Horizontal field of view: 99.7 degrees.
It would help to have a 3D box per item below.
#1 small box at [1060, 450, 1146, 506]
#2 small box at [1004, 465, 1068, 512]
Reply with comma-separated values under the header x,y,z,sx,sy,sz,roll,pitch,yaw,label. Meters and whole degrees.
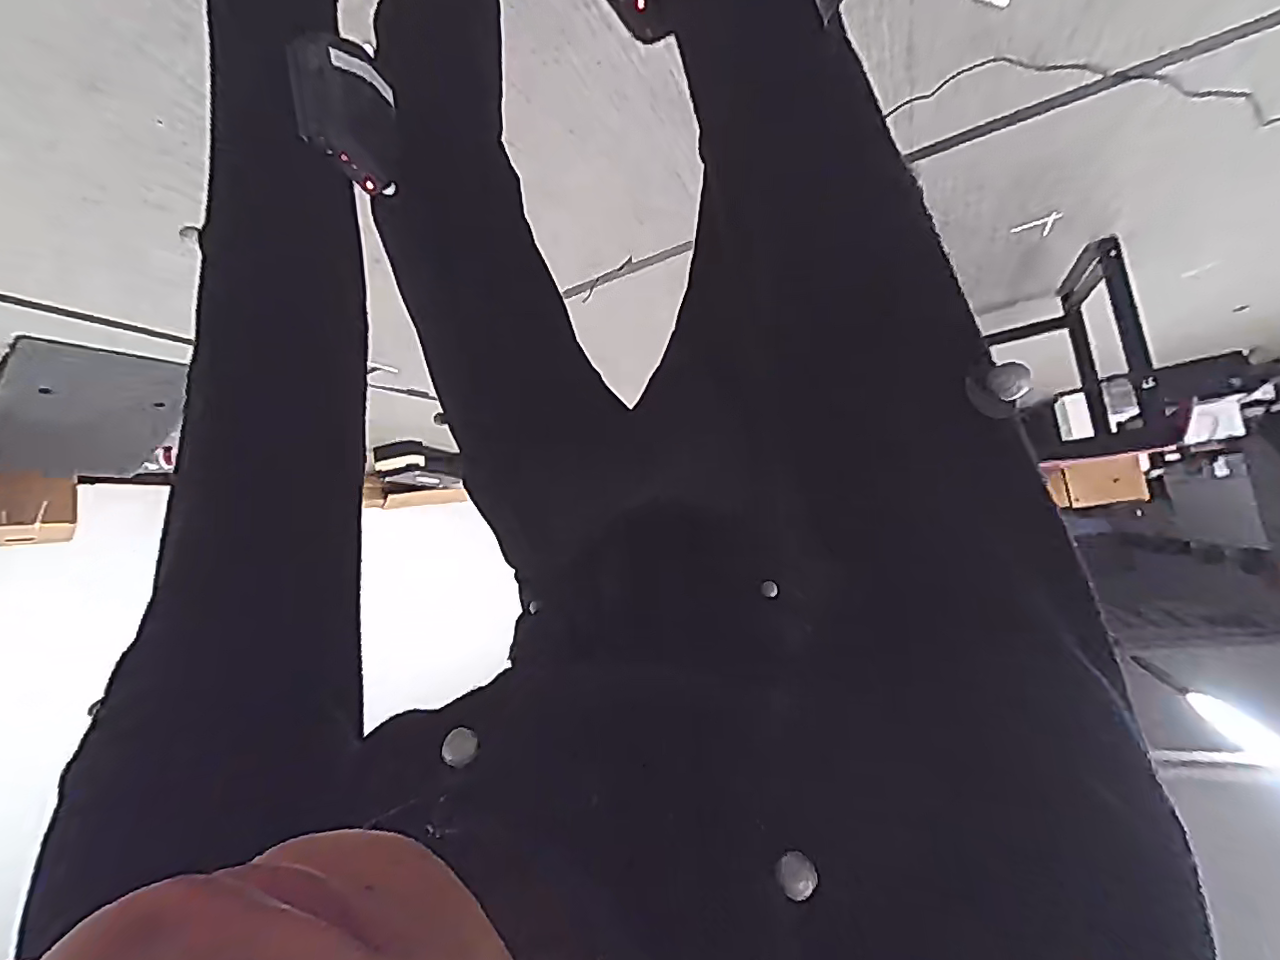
x,y,z,sx,sy,sz,roll,pitch,yaw,label
1.639,-0.006,1.922,0.179,0.176,0.168,-12,171,25,small box
1.622,0.034,2.224,0.168,0.176,0.179,-11,172,26,small box
